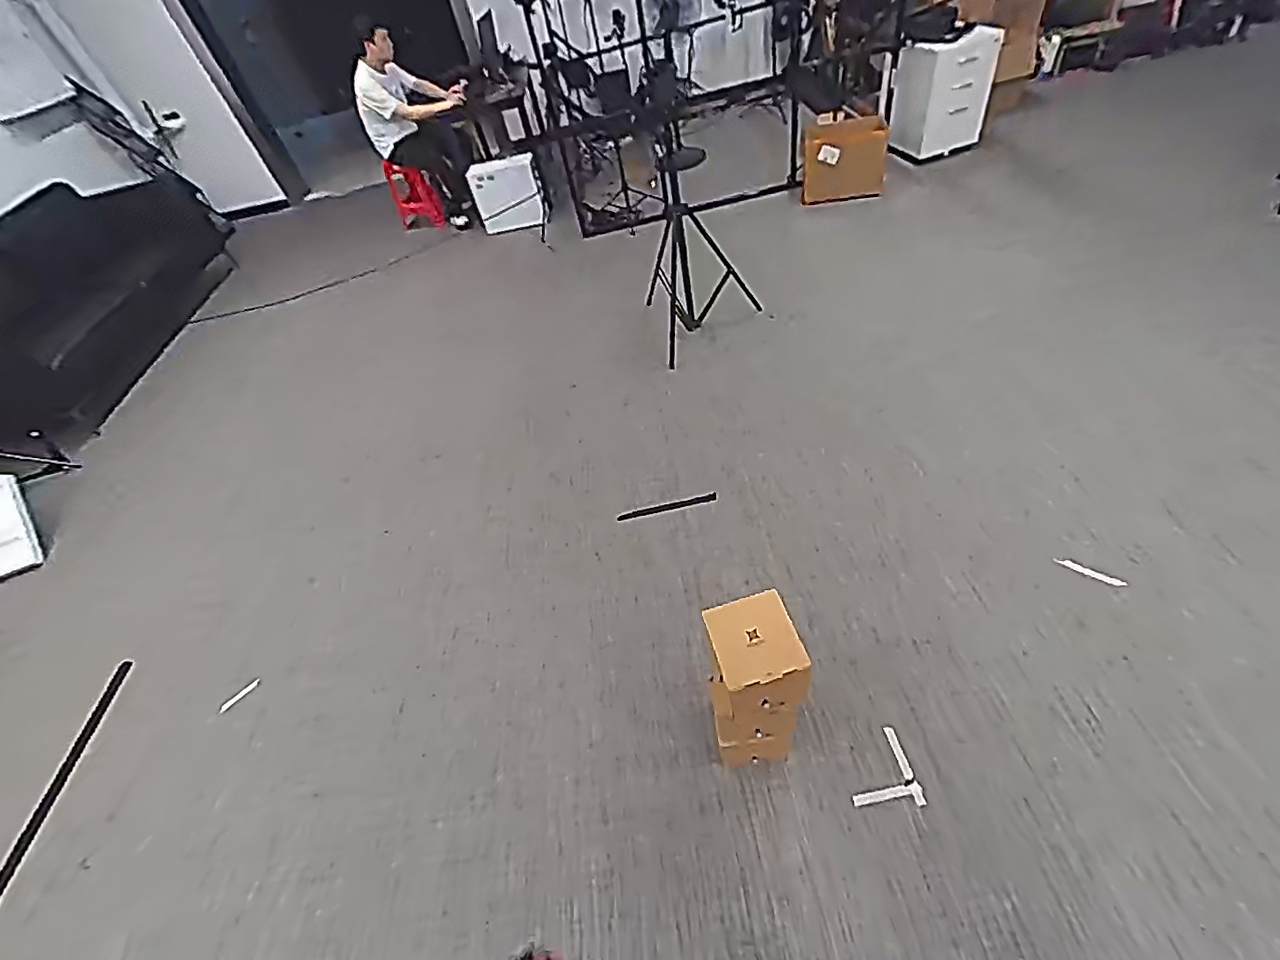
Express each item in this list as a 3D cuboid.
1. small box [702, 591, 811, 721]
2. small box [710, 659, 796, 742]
[{"bbox_3d":[0.235,0.364,1.114,0.168,0.176,0.179,-17,47,-2],"label":"small box"},{"bbox_3d":[0.252,0.475,1.232,0.168,0.176,0.179,-9,47,7],"label":"small box"}]
